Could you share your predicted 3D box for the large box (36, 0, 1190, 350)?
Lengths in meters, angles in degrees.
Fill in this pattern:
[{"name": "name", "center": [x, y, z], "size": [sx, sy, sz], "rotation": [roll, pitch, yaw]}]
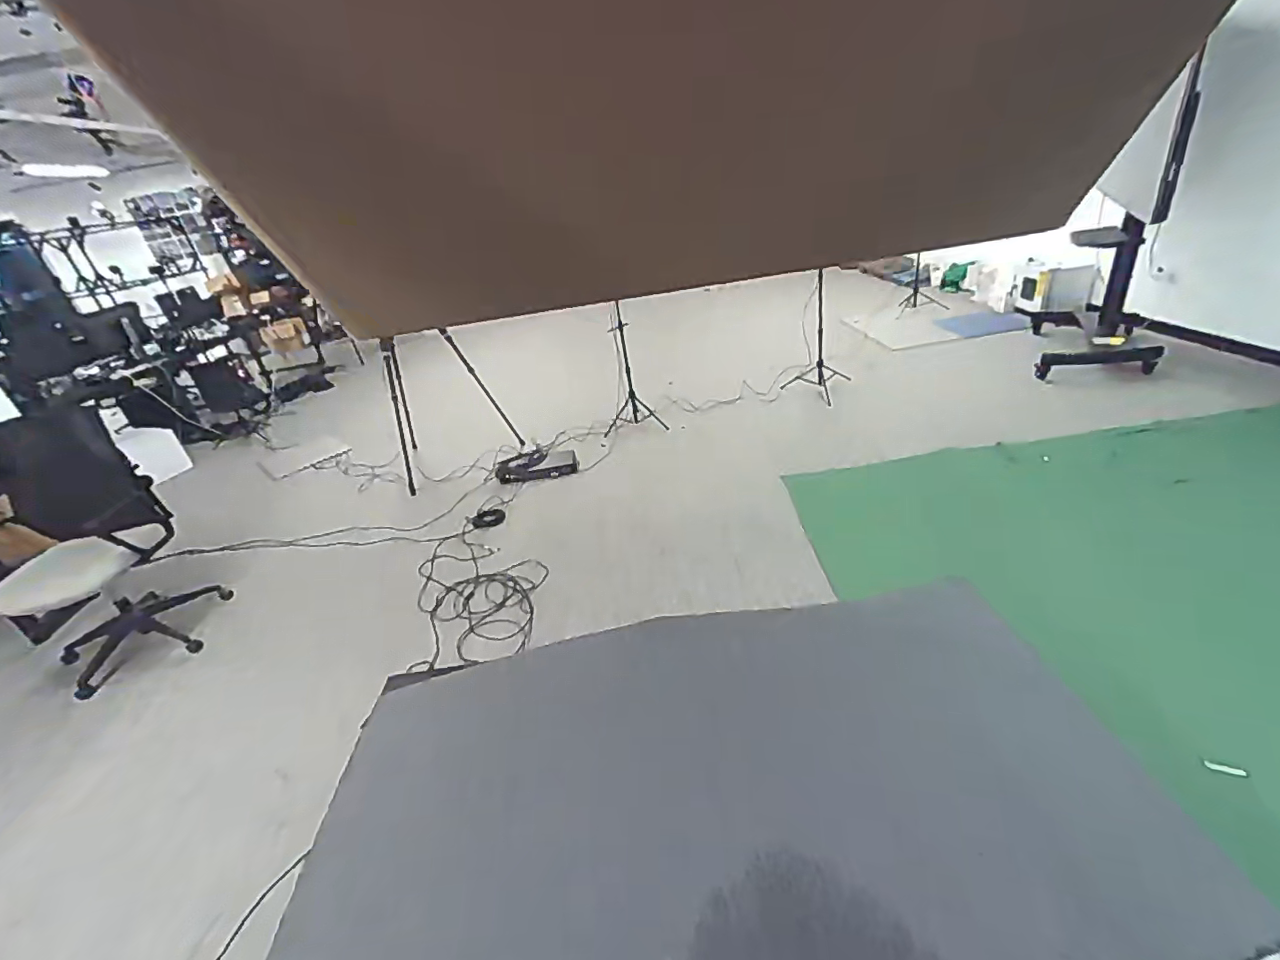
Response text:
[{"name": "large box", "center": [-0.006, -0.298, 0.238], "size": [0.408, 0.320, 0.320], "rotation": [-9, 68, 1]}]
